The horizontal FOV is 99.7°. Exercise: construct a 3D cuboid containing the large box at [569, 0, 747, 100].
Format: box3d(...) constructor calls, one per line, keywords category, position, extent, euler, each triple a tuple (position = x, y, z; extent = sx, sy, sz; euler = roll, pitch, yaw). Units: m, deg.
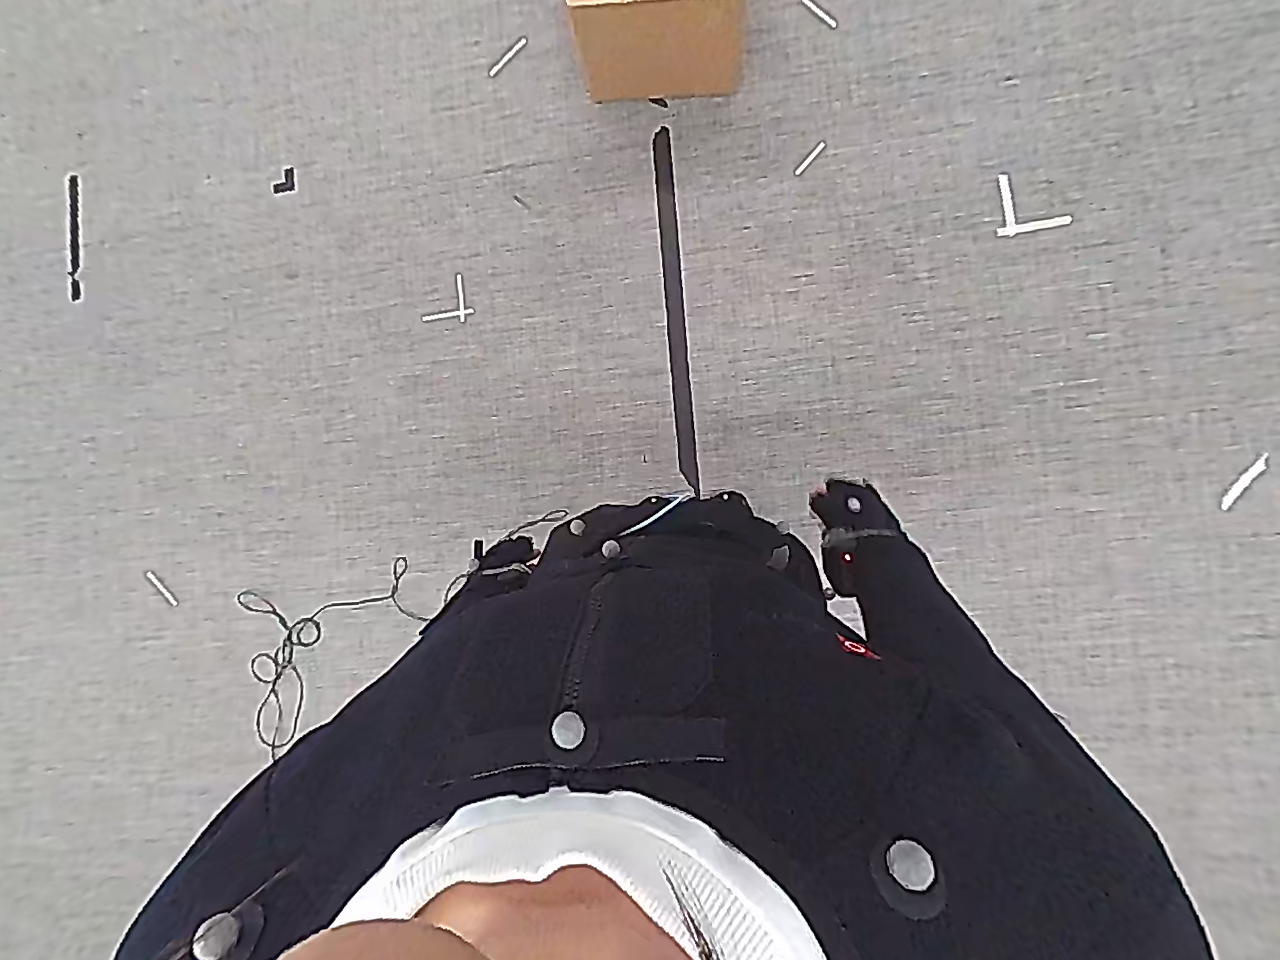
box3d(category="large box", position=(0.049, -1.207, 1.340), extent=(0.408, 0.320, 0.320), euler=(1, 90, 5))
